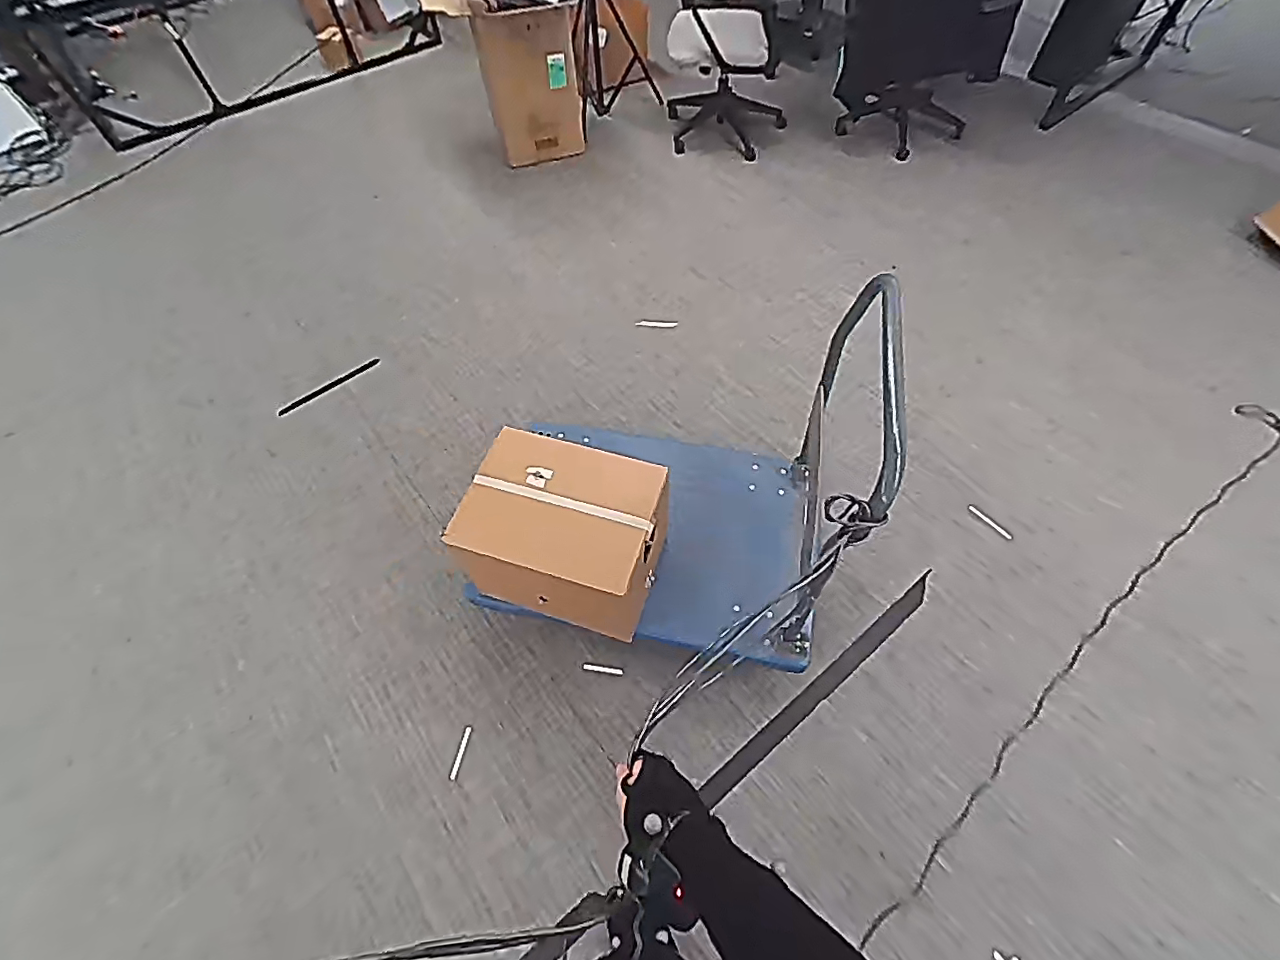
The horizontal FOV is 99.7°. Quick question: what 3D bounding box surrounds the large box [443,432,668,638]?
[{"bbox_3d":[-0.163,0.135,1.266,0.408,0.320,0.320,14,58,12],"label":"large box"}]
